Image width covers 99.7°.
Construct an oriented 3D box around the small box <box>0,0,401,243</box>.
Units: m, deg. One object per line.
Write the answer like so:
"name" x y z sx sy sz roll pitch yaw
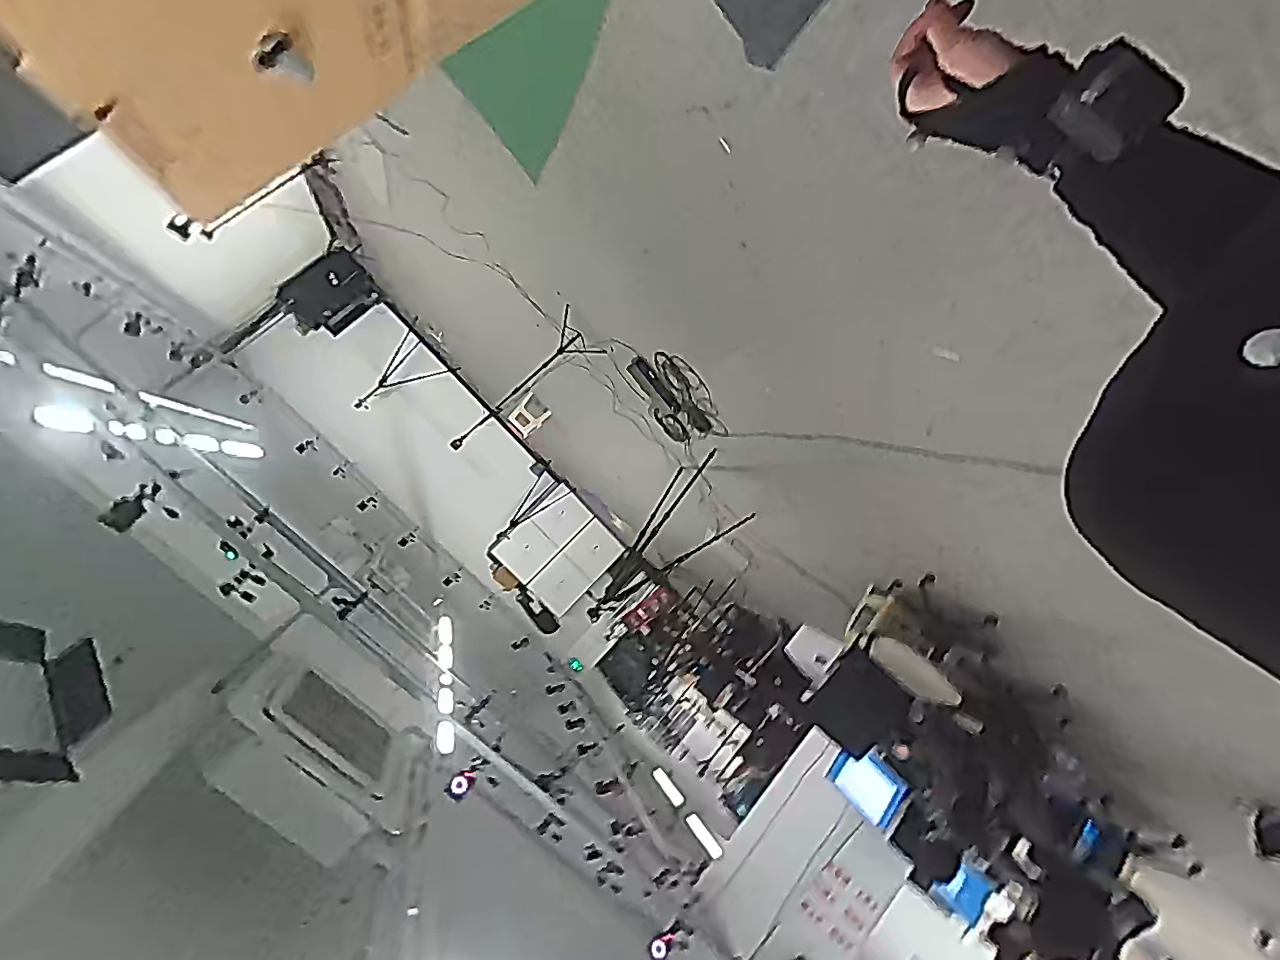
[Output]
"small box" -0.244 -0.269 0.272 0.179 0.176 0.168 46 167 -11
